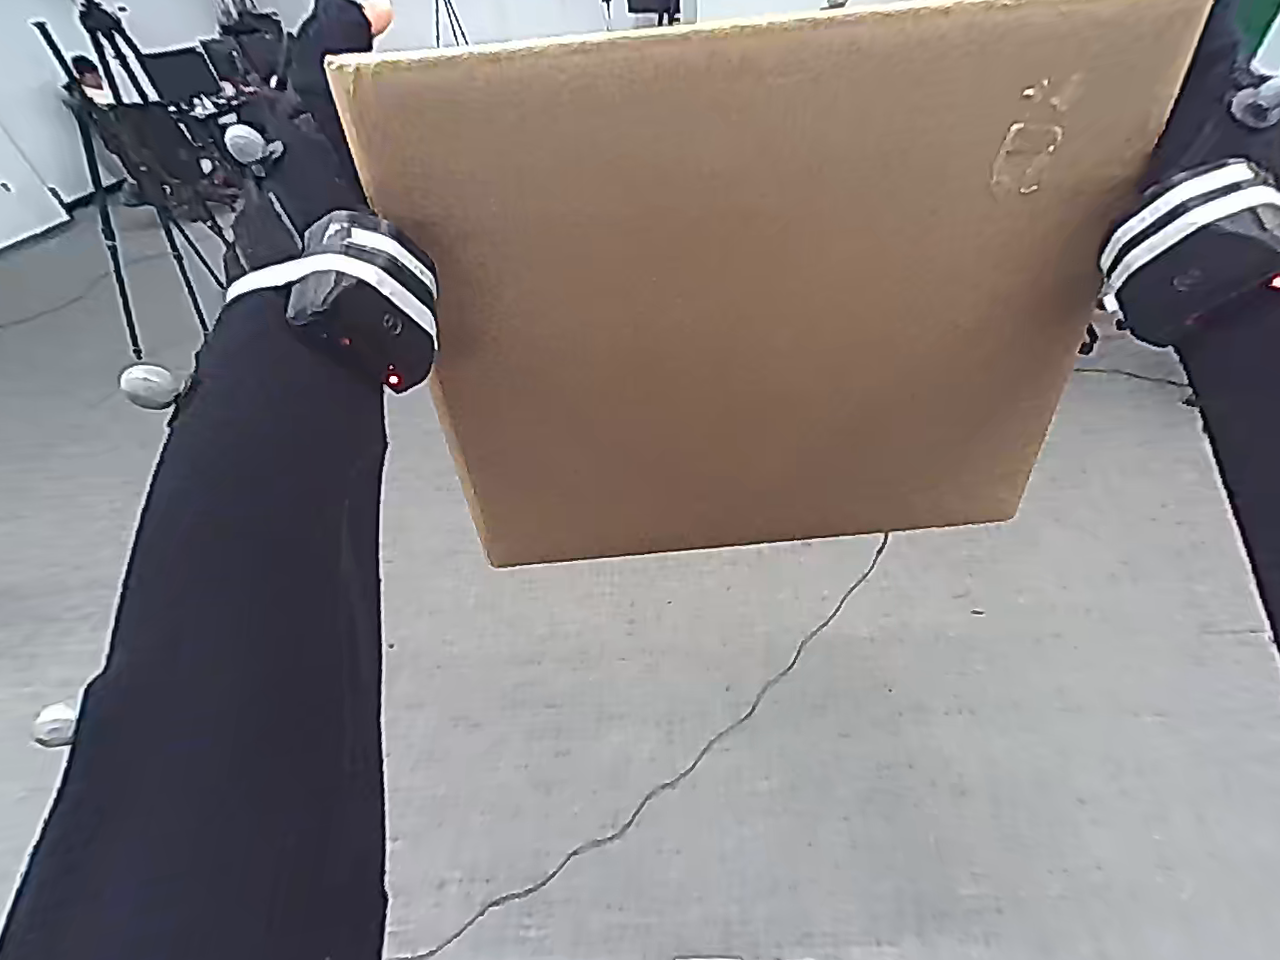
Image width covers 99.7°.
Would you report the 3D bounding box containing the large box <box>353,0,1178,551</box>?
[{"bbox_3d":[0.061,-0.166,0.457,0.408,0.320,0.320,-5,34,0],"label":"large box"}]
